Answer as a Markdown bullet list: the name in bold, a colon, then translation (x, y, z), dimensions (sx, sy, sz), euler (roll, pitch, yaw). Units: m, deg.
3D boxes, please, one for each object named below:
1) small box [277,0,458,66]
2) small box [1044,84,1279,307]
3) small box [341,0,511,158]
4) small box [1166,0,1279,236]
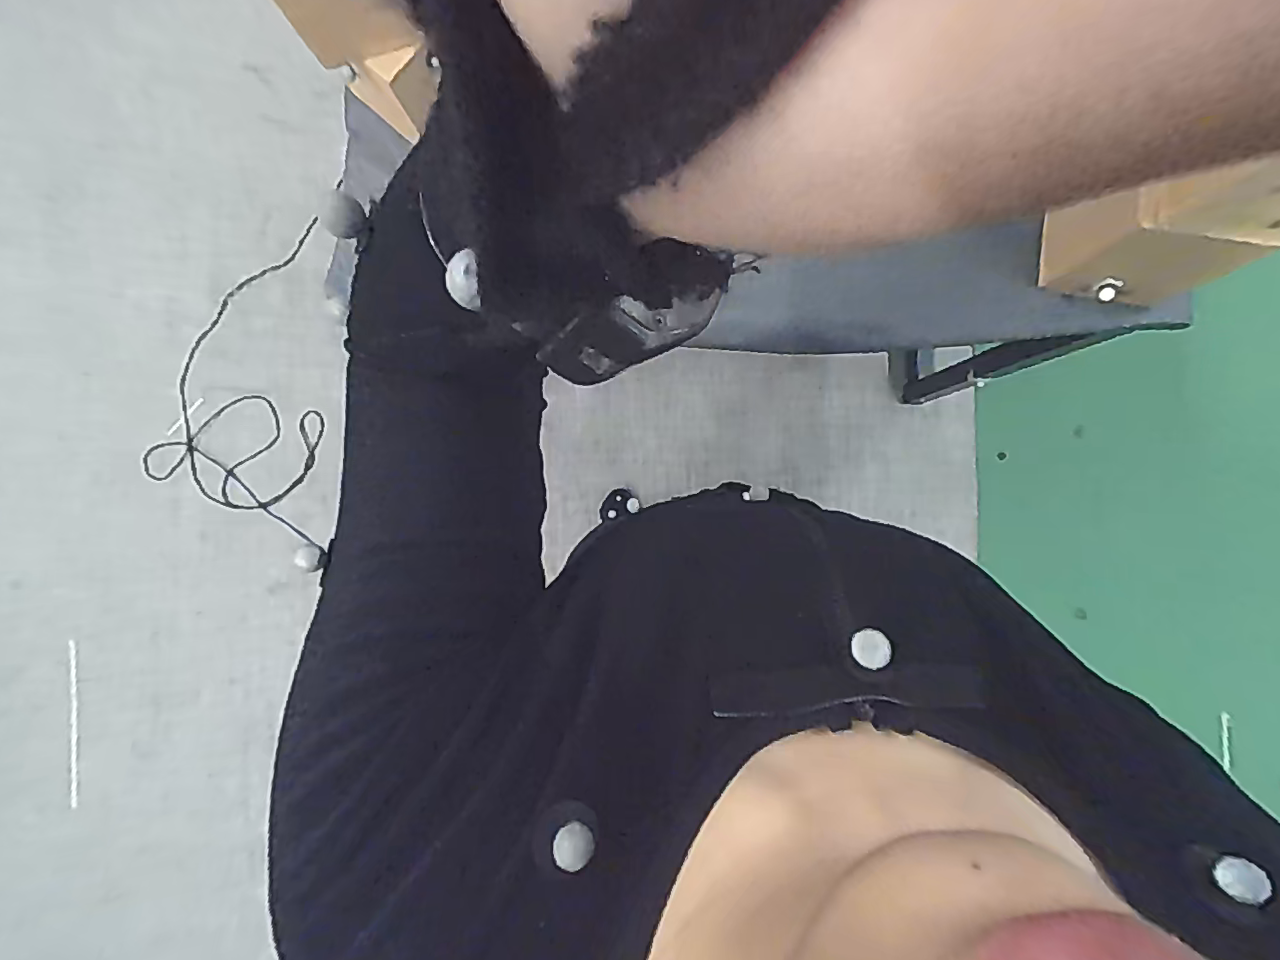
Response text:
- **small box**: translation (-0.303, -0.576, 0.546), dimensions (0.179, 0.176, 0.168), euler (-18, 89, 1)
- **small box**: translation (0.652, -0.344, 0.681), dimensions (0.168, 0.176, 0.179), euler (9, 86, 3)
- **small box**: translation (-0.300, -0.576, 0.711), dimensions (0.179, 0.176, 0.168), euler (41, 90, 2)
- **small box**: translation (0.663, -0.358, 0.519), dimensions (0.168, 0.176, 0.179), euler (7, 84, 3)
